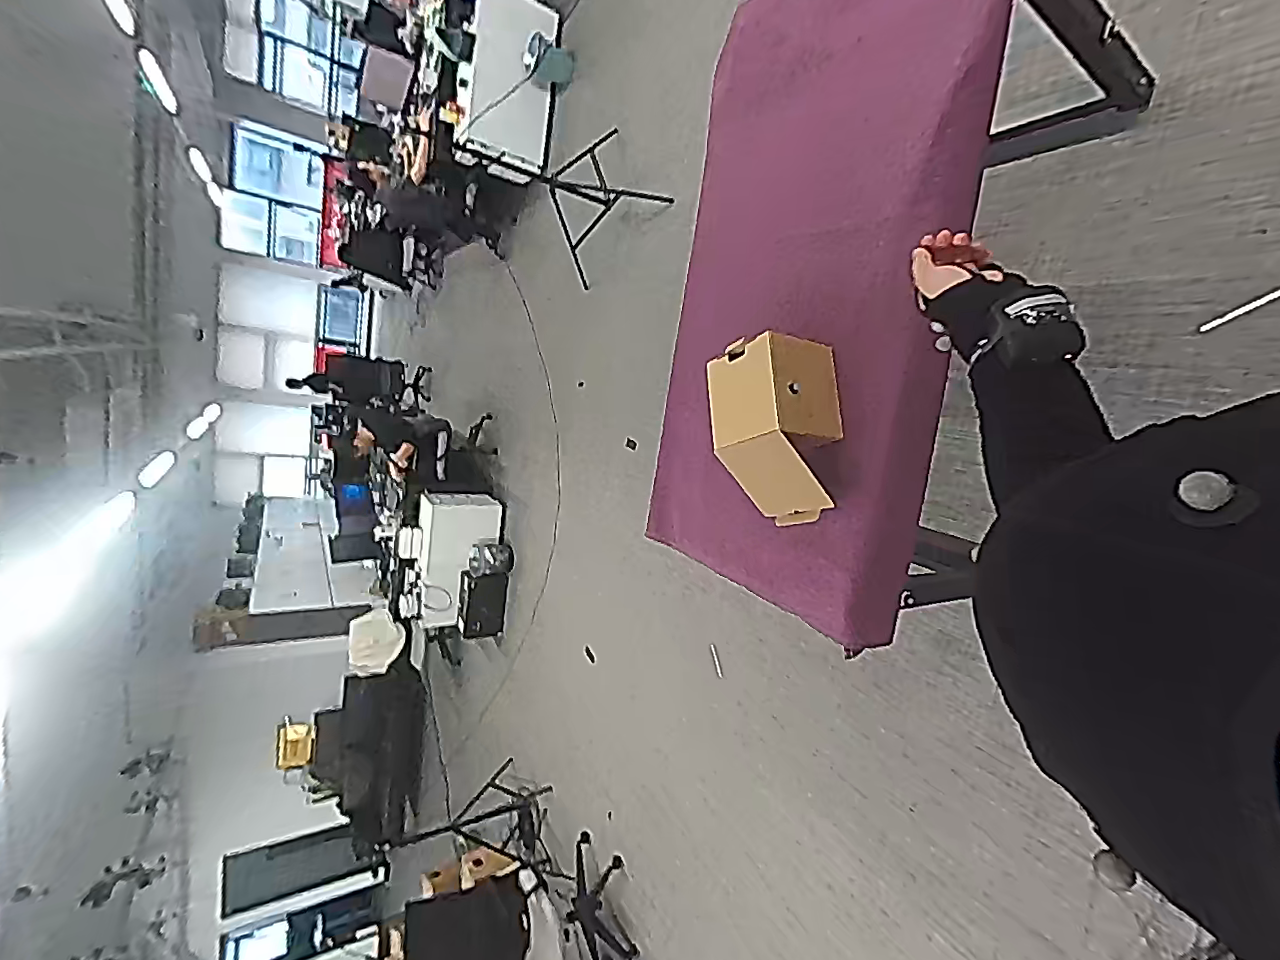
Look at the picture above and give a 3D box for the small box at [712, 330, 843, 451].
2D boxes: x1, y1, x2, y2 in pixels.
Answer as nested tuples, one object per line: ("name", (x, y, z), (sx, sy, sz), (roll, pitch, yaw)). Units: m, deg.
("small box", (0.254, -0.153, 0.998), (0.168, 0.176, 0.179), (-17, 73, 55))
